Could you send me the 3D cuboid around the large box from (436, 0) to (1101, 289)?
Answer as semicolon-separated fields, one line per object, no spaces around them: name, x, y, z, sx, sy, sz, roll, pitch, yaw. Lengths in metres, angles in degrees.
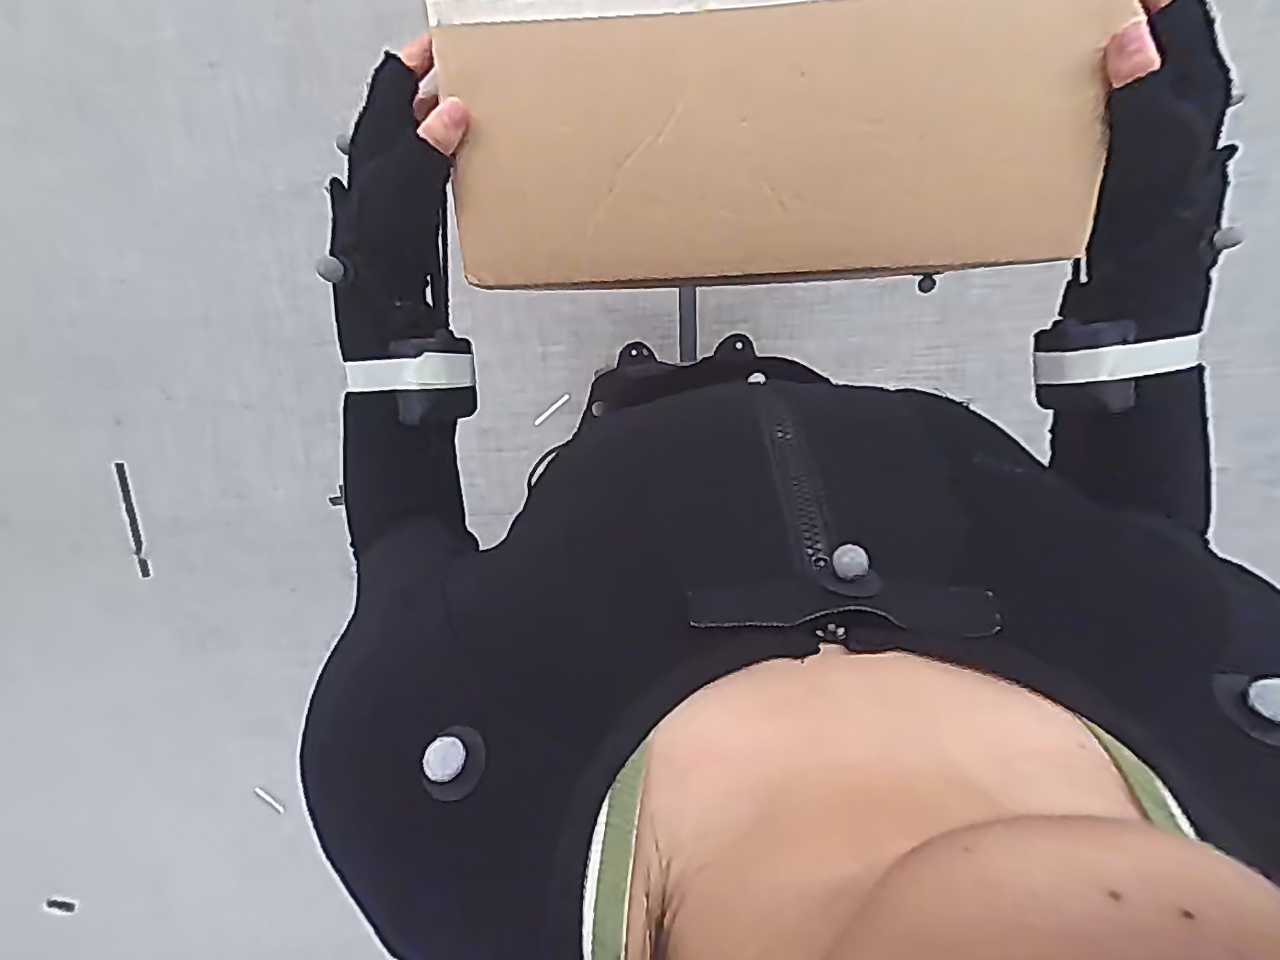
large box;0.079;-0.337;0.460;0.408;0.320;0.320;-2;109;1

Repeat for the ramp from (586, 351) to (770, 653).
ramp;0.127;0.124;1.626;0.509;0.206;0.991;-4;105;2
